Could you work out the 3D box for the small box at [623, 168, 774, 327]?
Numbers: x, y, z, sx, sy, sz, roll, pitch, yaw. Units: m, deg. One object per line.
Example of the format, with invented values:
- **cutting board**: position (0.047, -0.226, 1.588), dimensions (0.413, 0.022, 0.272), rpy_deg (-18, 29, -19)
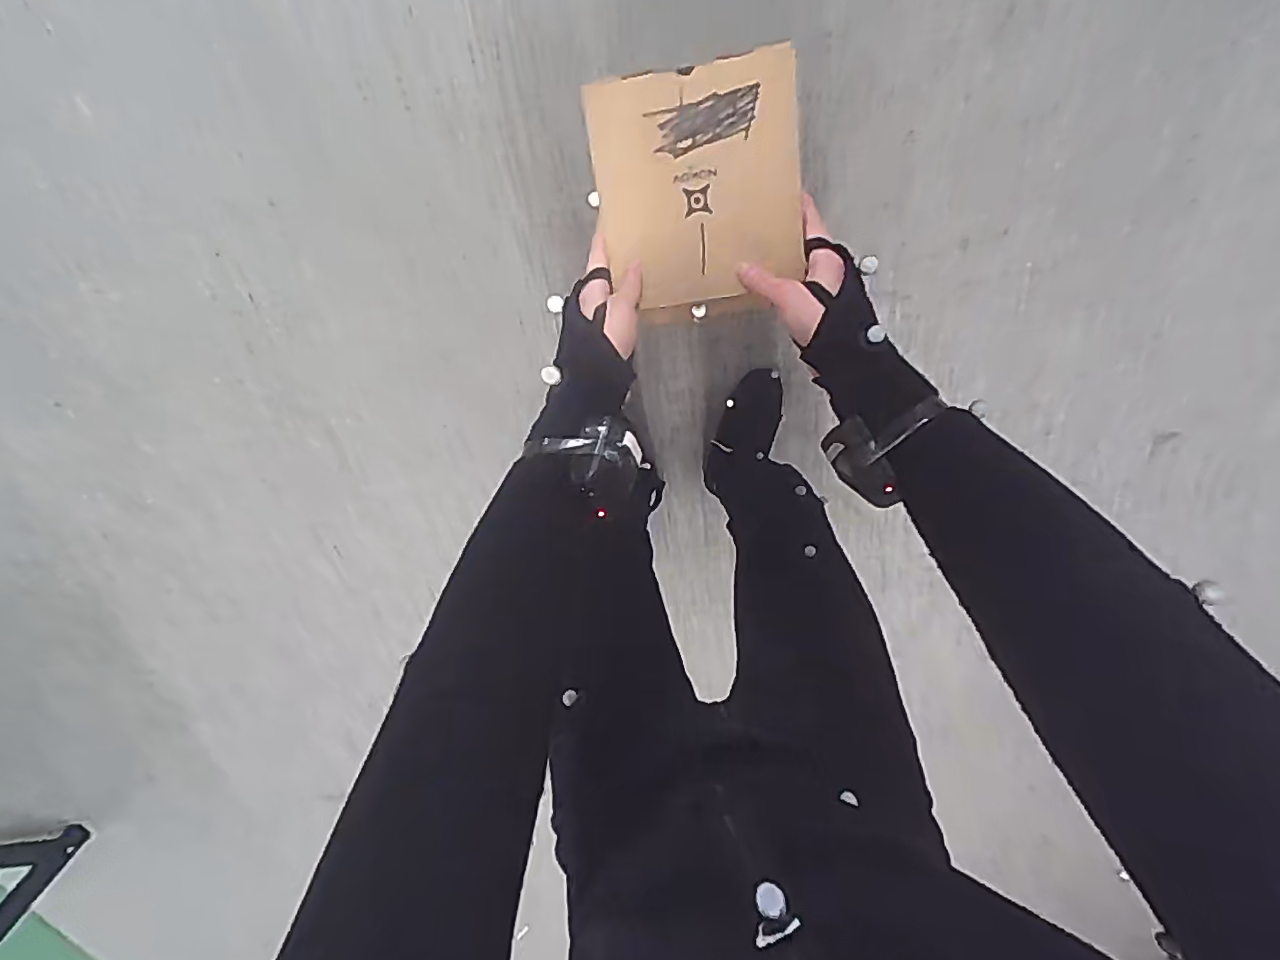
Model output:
- **small box**: position (0.076, -0.315, 0.737), dimensions (0.179, 0.176, 0.168), rpy_deg (-7, 116, 3)
